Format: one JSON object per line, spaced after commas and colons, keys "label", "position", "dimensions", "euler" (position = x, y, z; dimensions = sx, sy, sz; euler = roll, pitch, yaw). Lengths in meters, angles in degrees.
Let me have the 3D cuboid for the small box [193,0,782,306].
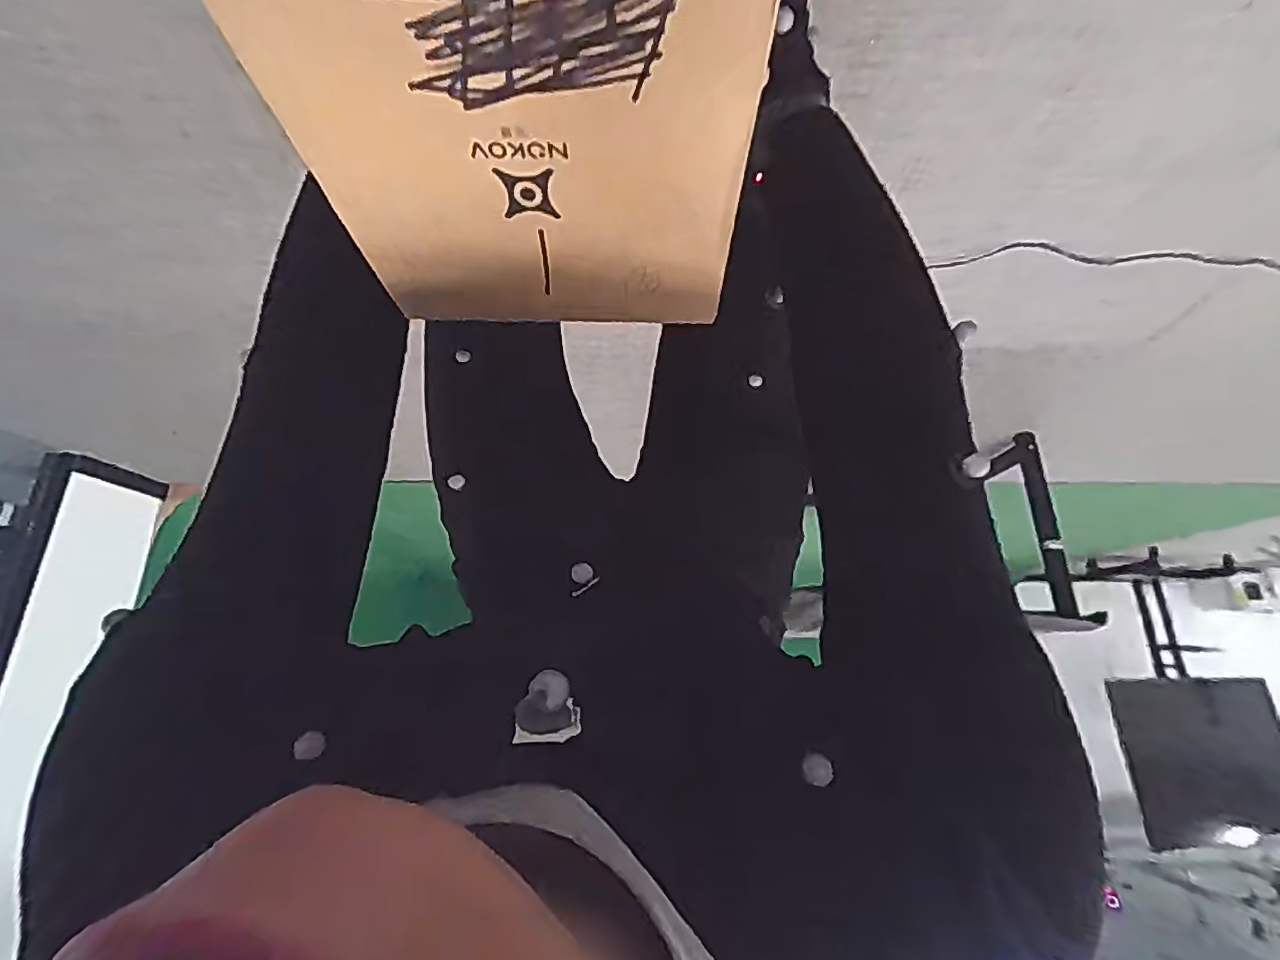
{"label": "small box", "position": [-0.041, -0.194, 0.213], "dimensions": [0.168, 0.176, 0.179], "euler": [2, 159, 1]}
